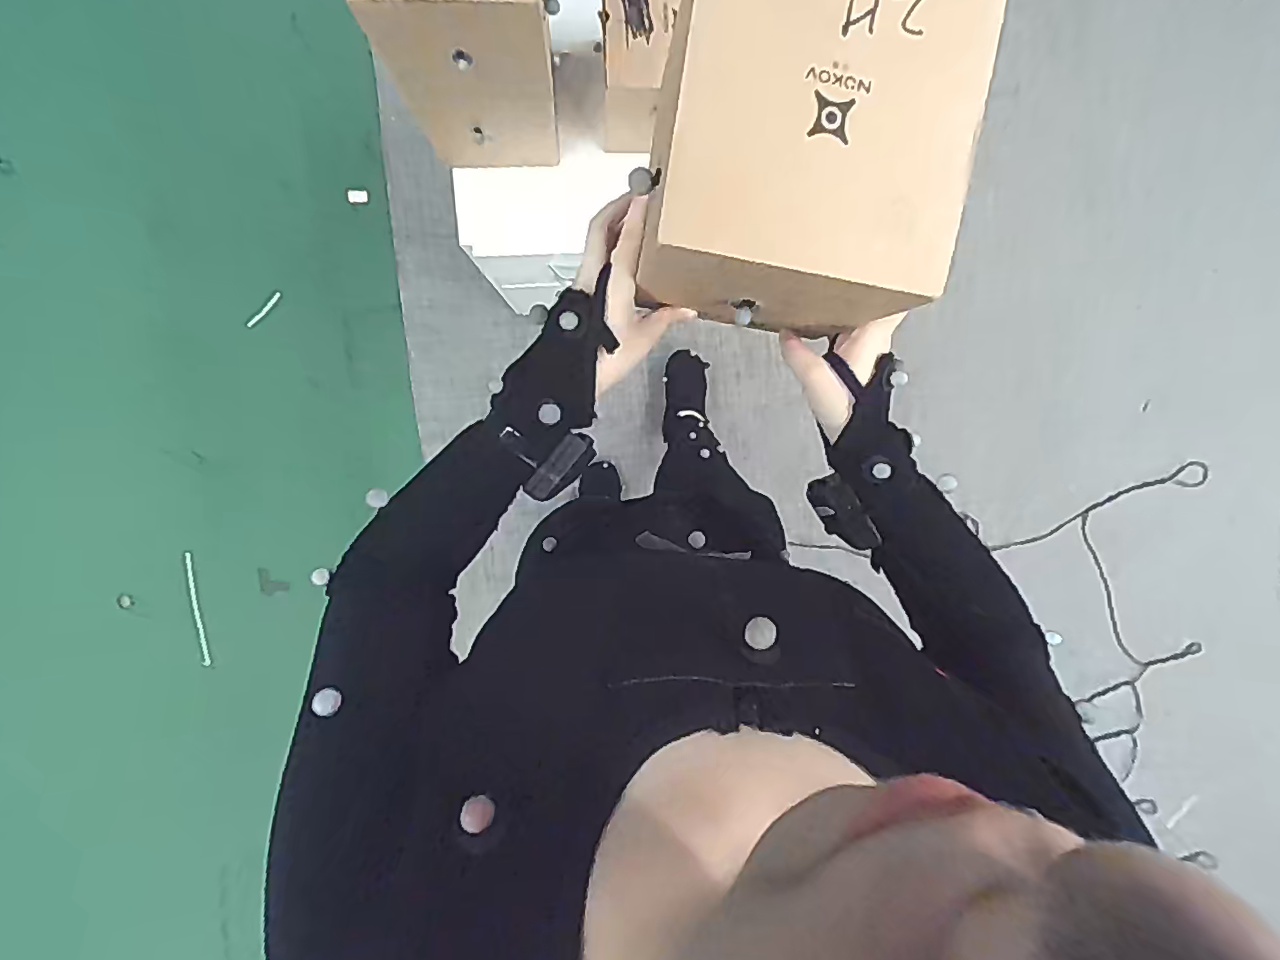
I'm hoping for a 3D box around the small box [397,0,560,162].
[{"bbox_3d":[-0.205,-0.551,0.729,0.179,0.176,0.168,-3,97,-5],"label":"small box"}]

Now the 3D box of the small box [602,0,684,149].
[{"bbox_3d":[0.037,-0.579,0.743,0.179,0.176,0.168,-2,97,-3],"label":"small box"}]

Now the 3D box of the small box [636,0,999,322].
[{"bbox_3d":[0.095,-0.217,0.370,0.168,0.176,0.179,8,96,-8],"label":"small box"}]
